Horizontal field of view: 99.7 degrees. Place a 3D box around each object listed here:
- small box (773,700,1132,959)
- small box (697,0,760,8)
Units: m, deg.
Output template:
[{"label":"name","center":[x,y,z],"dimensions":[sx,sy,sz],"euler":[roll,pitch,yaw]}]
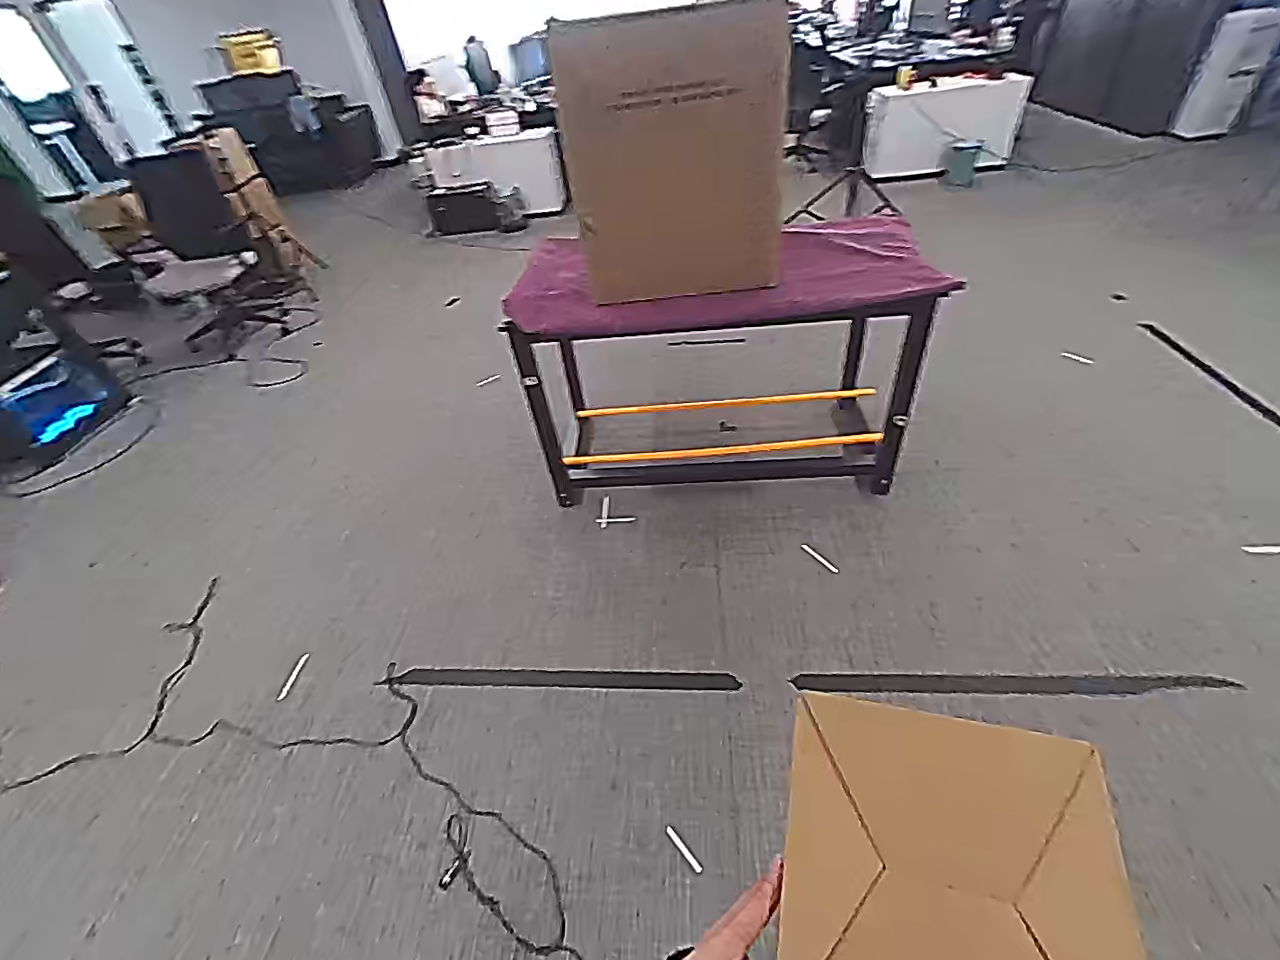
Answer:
[{"label":"small box","center":[0.176,0.268,0.347],"dimensions":[0.168,0.176,0.179],"euler":[4,52,17]},{"label":"small box","center":[0.213,-1.233,1.273],"dimensions":[0.168,0.176,0.179],"euler":[-3,42,8]}]
